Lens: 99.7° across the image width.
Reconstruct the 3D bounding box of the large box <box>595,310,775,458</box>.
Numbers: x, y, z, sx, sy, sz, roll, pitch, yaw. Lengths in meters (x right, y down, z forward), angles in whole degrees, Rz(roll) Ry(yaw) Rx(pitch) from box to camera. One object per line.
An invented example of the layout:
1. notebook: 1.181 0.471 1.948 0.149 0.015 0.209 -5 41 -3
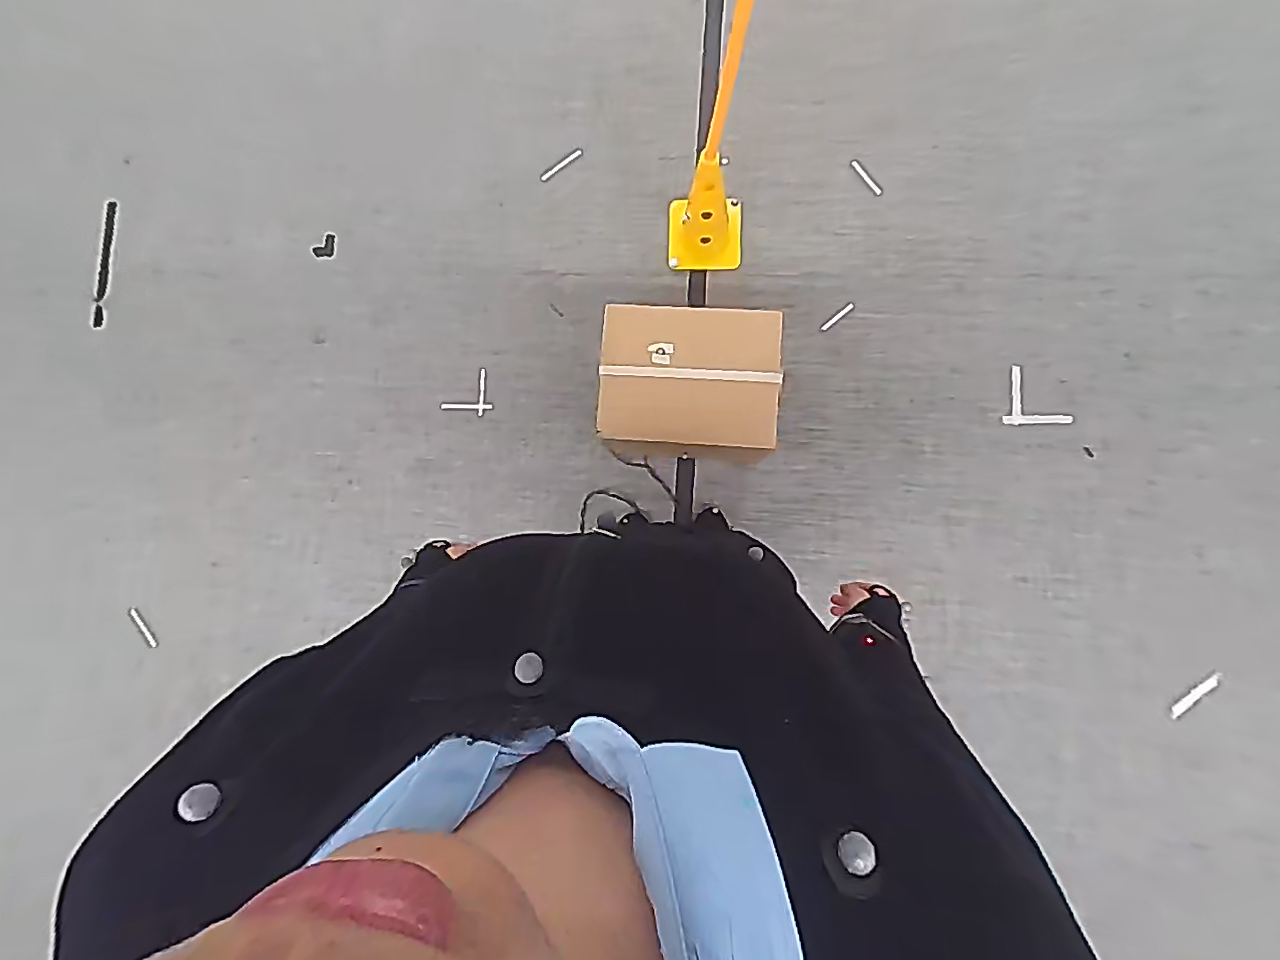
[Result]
1. large box: 0.117 -0.225 1.375 0.408 0.320 0.320 3 86 5
